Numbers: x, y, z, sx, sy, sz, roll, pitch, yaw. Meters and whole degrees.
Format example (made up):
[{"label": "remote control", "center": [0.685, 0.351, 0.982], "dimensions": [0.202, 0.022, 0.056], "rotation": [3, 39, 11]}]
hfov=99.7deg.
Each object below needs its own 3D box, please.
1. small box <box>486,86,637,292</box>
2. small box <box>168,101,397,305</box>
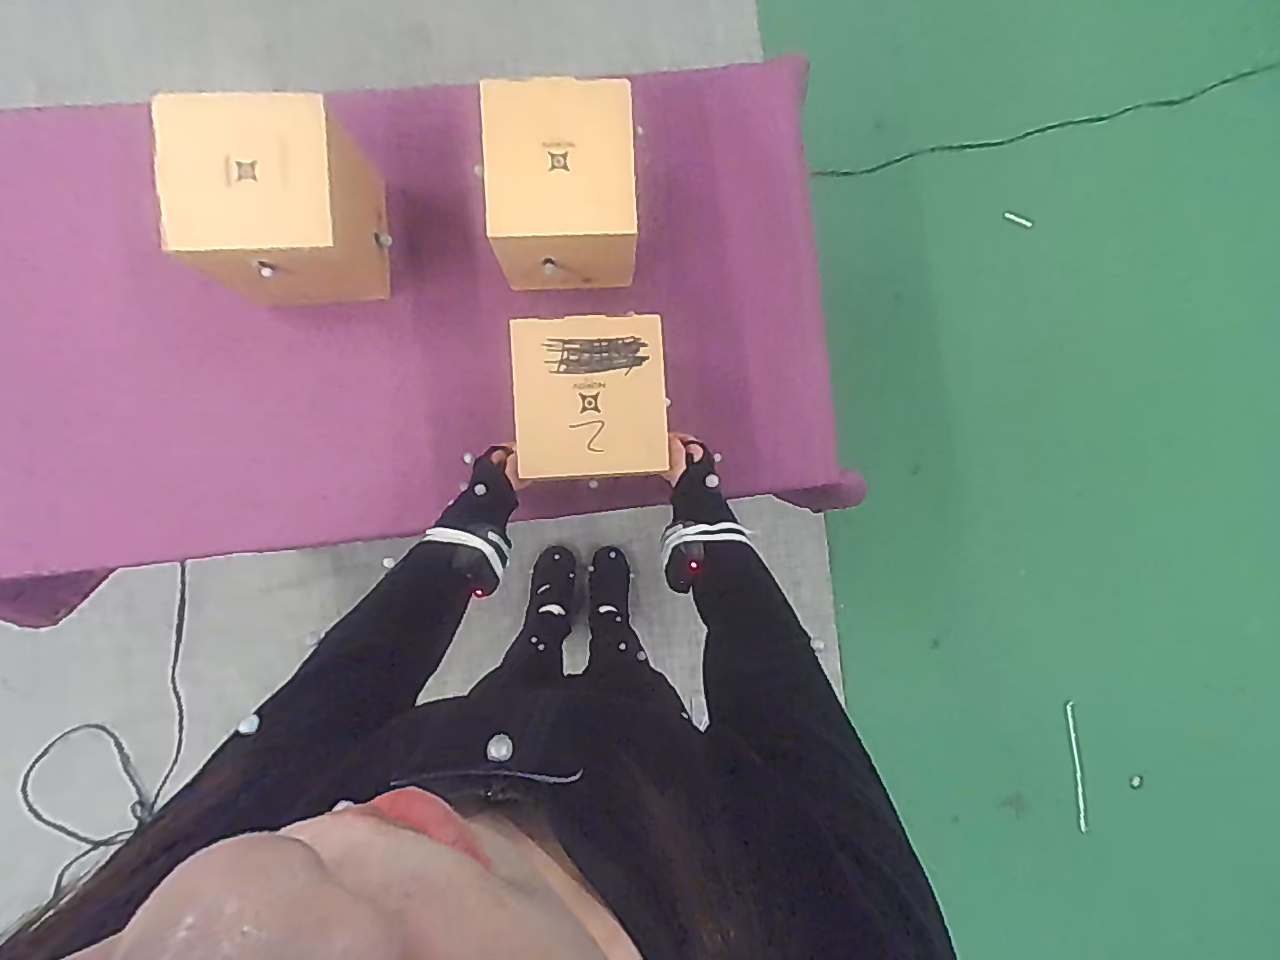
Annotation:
[{"label": "small box", "center": [-0.088, -0.345, 0.674], "dimensions": [0.168, 0.176, 0.179], "rotation": [-3, 88, -3]}, {"label": "small box", "center": [-0.415, -0.319, 0.654], "dimensions": [0.179, 0.176, 0.168], "rotation": [-2, 89, -4]}]
